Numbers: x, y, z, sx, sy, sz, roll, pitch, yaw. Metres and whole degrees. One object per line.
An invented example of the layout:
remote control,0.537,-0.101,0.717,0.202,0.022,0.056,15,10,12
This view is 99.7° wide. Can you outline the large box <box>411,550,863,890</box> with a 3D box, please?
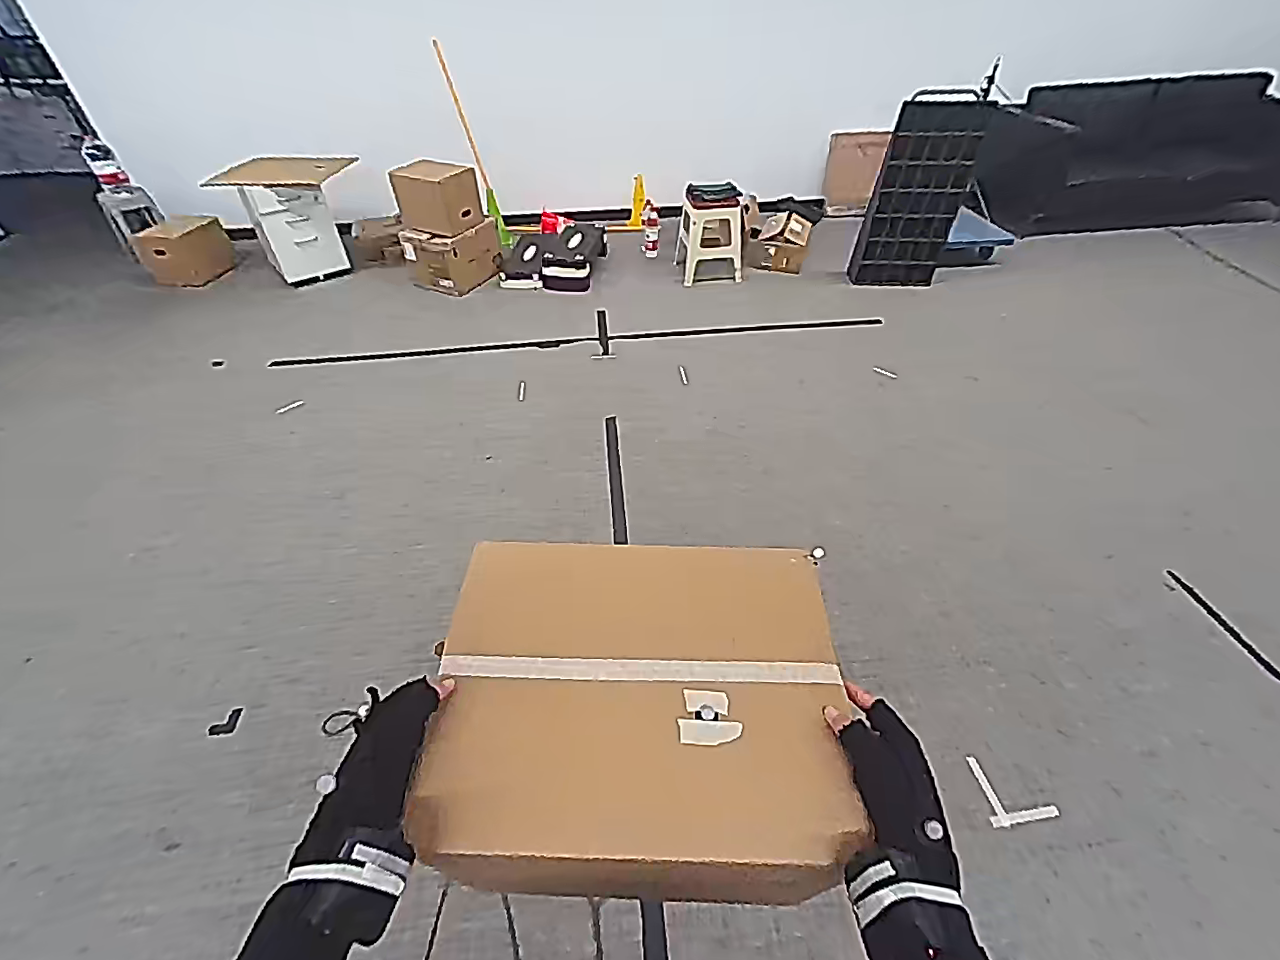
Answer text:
large box,-0.004,0.303,0.676,0.408,0.320,0.320,1,48,0
